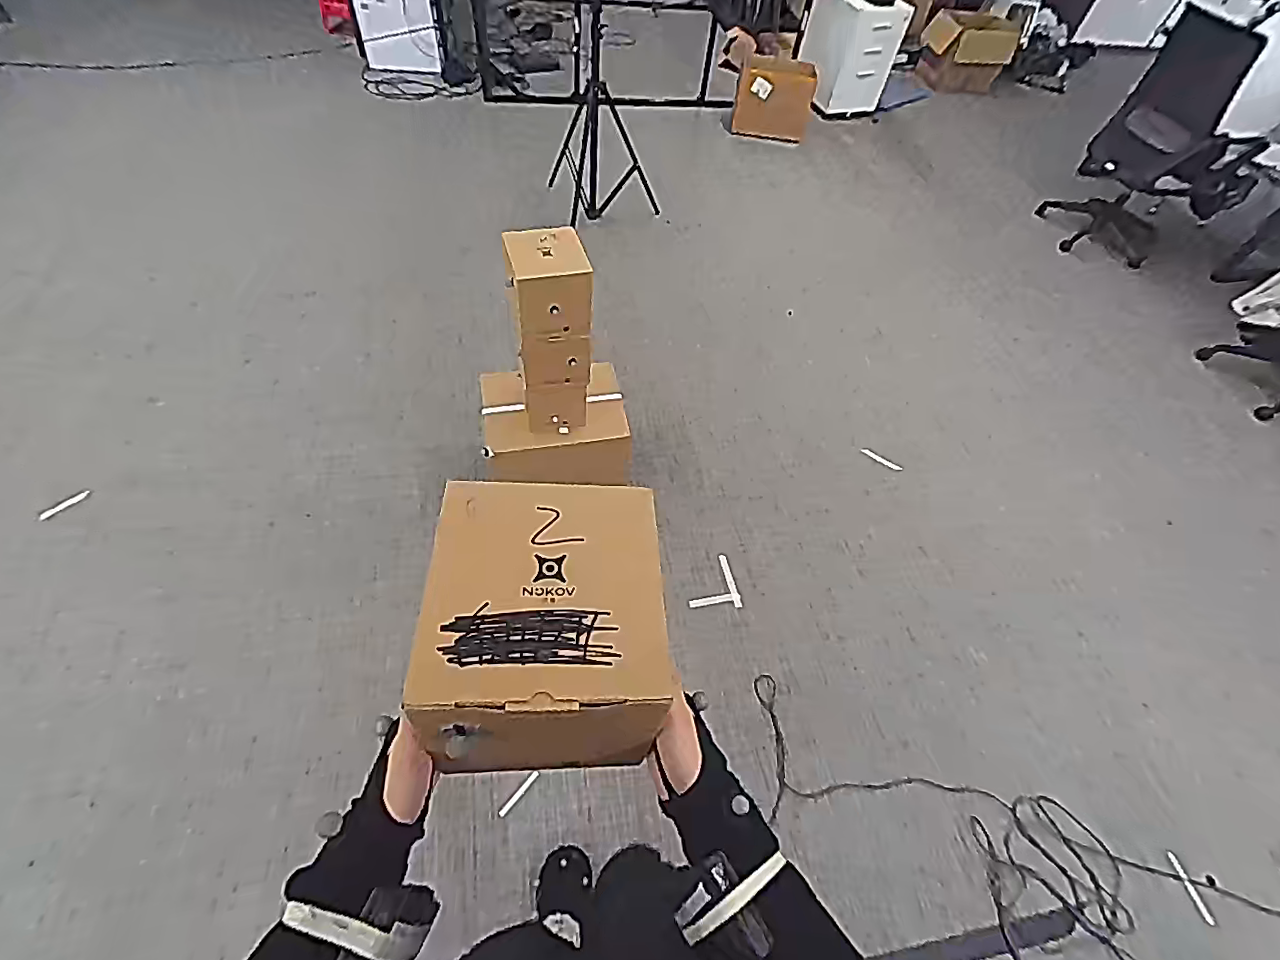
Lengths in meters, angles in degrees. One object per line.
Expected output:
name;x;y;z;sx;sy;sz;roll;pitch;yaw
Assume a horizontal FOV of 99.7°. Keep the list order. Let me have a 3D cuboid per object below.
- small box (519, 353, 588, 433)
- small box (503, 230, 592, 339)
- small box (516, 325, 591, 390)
small box;-0.242;-0.255;1.505;0.168;0.176;0.179;-8;57;-12
small box;-0.210;-0.440;1.238;0.168;0.176;0.179;-12;58;-16
small box;-0.221;-0.343;1.371;0.168;0.176;0.179;-9;56;-14
